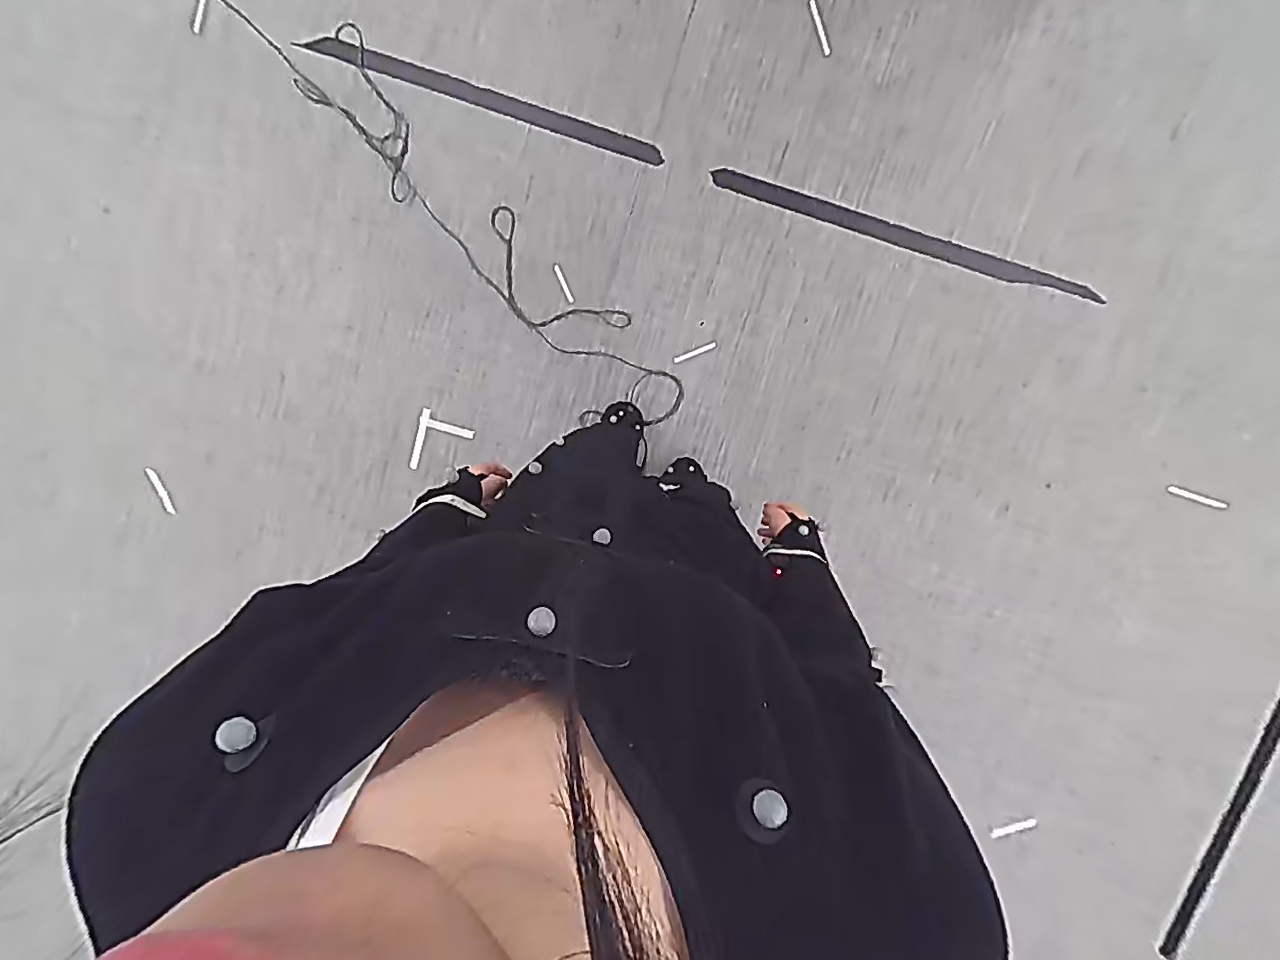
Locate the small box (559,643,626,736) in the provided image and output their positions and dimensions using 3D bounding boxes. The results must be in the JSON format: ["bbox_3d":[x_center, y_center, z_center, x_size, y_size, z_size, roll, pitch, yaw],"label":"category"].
[{"bbox_3d":[-0.129,0.548,1.437,0.168,0.176,0.179,5,94,2],"label":"small box"}]

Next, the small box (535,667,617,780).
[{"bbox_3d":[-0.144,0.566,1.274,0.168,0.176,0.179,5,95,1],"label":"small box"}]

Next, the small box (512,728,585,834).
[{"bbox_3d":[-0.236,0.807,1.466,0.168,0.176,0.179,9,95,1],"label":"small box"}]
